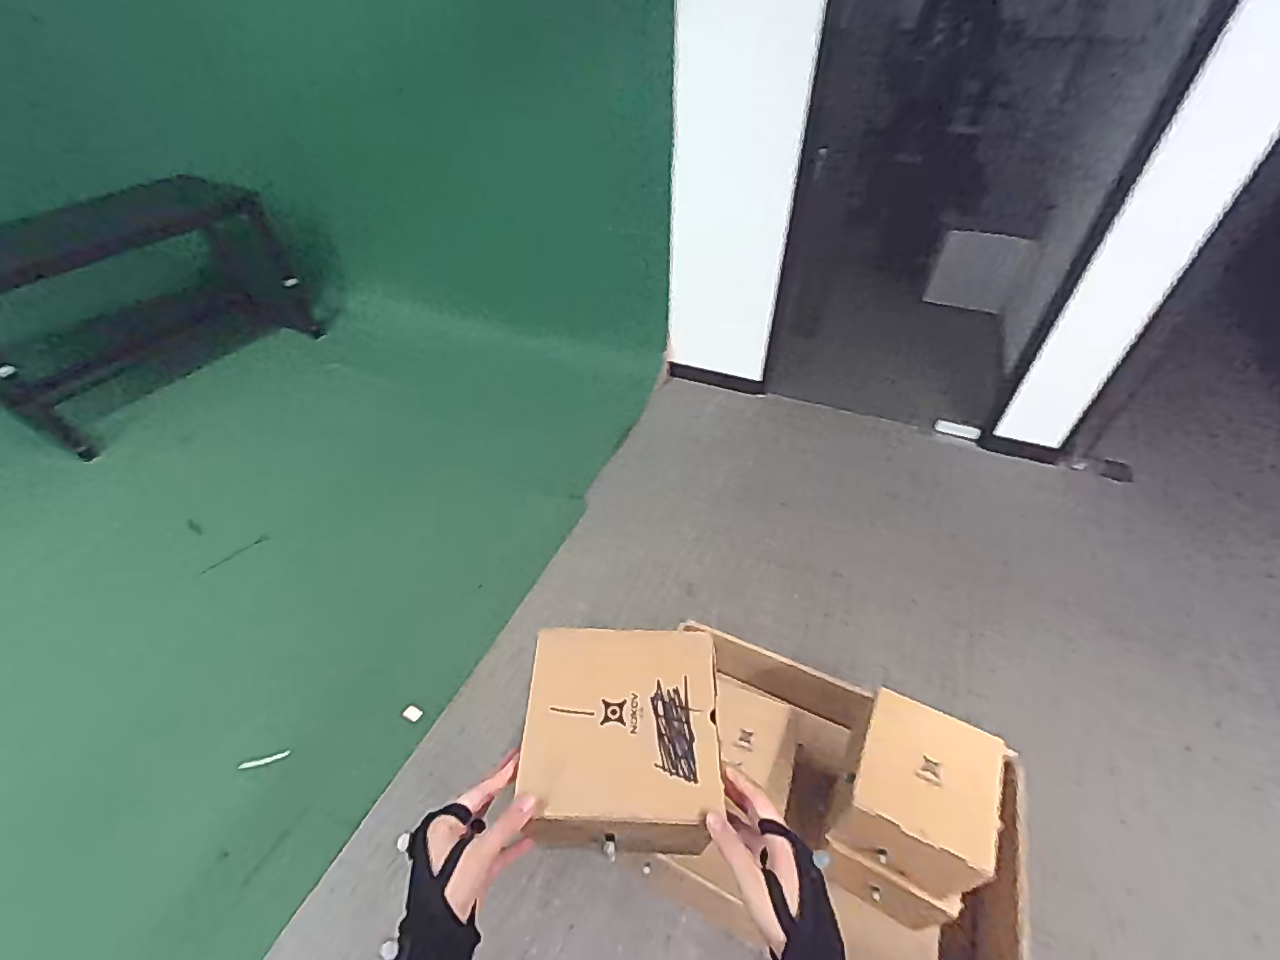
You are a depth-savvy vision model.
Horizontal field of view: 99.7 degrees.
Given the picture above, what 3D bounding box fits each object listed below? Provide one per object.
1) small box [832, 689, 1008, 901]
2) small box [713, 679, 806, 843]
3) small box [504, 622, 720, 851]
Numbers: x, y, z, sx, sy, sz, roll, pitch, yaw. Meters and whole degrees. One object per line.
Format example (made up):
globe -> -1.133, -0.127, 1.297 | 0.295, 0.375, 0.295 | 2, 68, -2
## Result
small box -> 0.384, 0.438, 0.757 | 0.168, 0.176, 0.179 | 20, 48, 22
small box -> 0.176, 0.488, 0.941 | 0.168, 0.176, 0.179 | 16, 47, 16
small box -> -0.023, 0.260, 0.544 | 0.179, 0.176, 0.168 | 2, 47, 0
